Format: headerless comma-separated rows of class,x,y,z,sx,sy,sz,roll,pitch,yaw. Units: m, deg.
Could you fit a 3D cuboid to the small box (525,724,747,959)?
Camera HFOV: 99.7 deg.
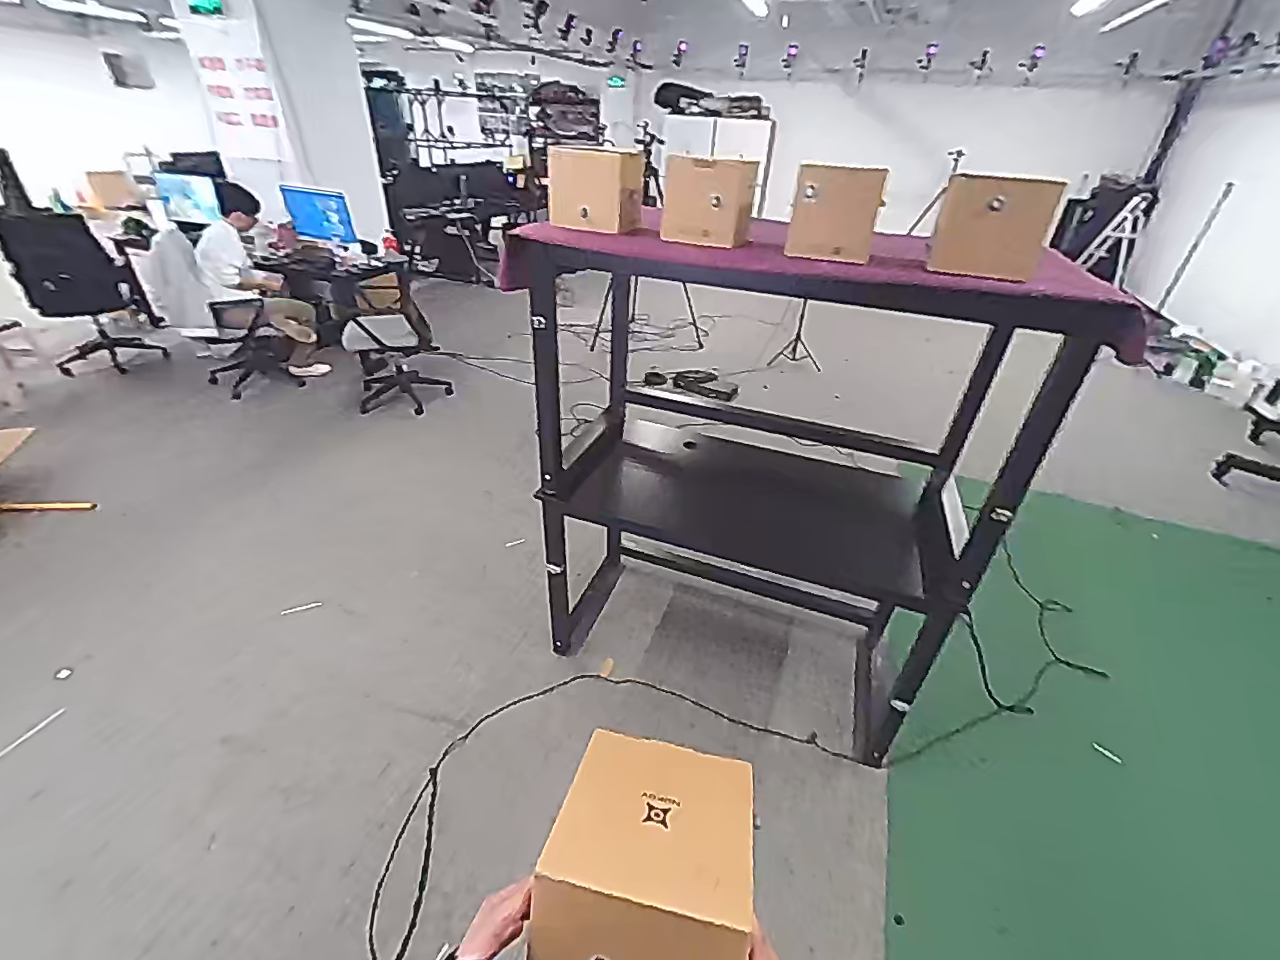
small box,0.004,0.359,0.485,0.168,0.176,0.179,8,11,9

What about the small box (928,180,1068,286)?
small box,0.678,-0.483,1.053,0.179,0.176,0.168,14,33,17

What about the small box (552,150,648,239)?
small box,-0.094,-0.674,1.278,0.179,0.176,0.168,14,33,14

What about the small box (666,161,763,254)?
small box,0.163,-0.611,1.207,0.168,0.176,0.179,16,33,17
